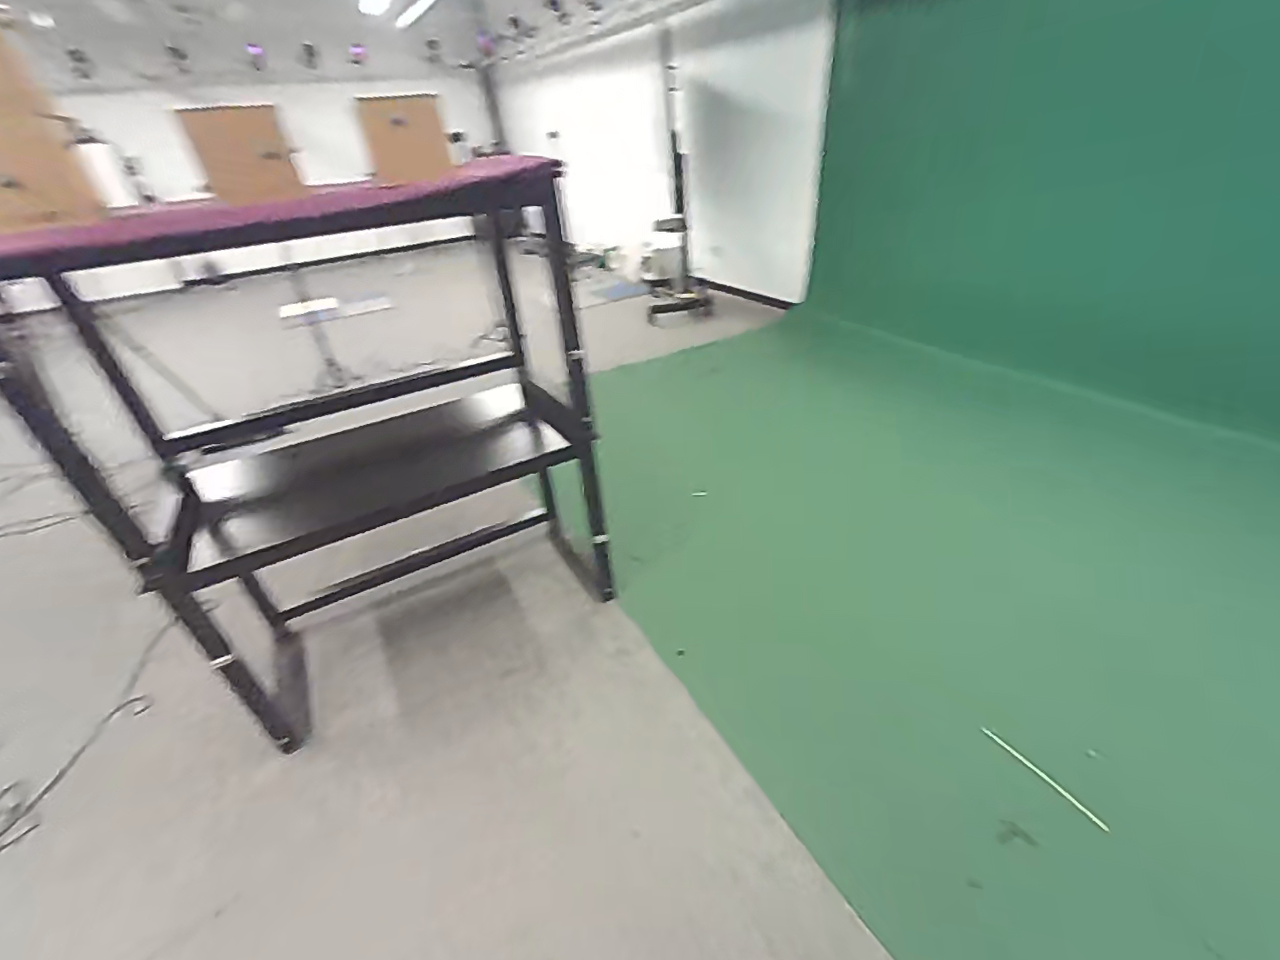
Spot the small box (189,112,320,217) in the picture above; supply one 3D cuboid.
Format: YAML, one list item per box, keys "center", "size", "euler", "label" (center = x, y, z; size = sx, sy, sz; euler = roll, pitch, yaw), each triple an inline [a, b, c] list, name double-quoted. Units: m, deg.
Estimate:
- center: [-0.793, -0.661, 1.132]
  size: [0.179, 0.176, 0.168]
  euler: [-23, 36, -24]
  label: "small box"

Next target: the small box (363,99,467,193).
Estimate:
- center: [-0.530, -0.780, 1.275]
  size: [0.179, 0.176, 0.168]
  euler: [-20, 33, -22]
  label: "small box"

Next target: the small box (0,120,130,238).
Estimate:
- center: [-1.071, -0.539, 0.972]
  size: [0.168, 0.176, 0.179]
  euler: [-21, 36, -25]
  label: "small box"
